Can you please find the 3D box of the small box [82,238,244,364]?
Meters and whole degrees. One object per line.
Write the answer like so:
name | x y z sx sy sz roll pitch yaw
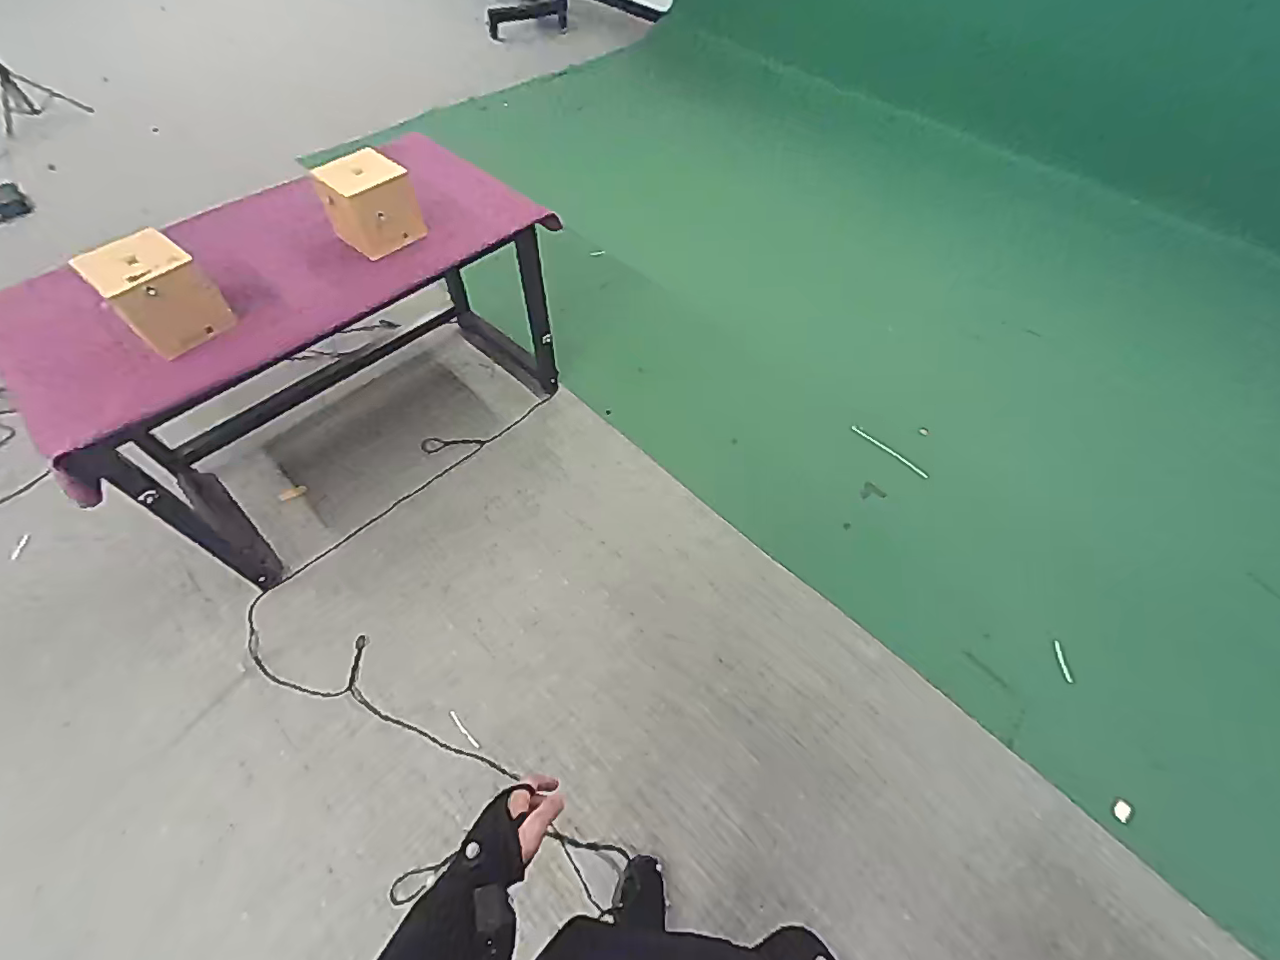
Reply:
small box | -1.013 -0.380 1.162 0.179 0.176 0.168 34 62 20

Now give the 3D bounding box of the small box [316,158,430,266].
small box | -0.666 -0.671 1.368 0.179 0.176 0.168 37 63 23
